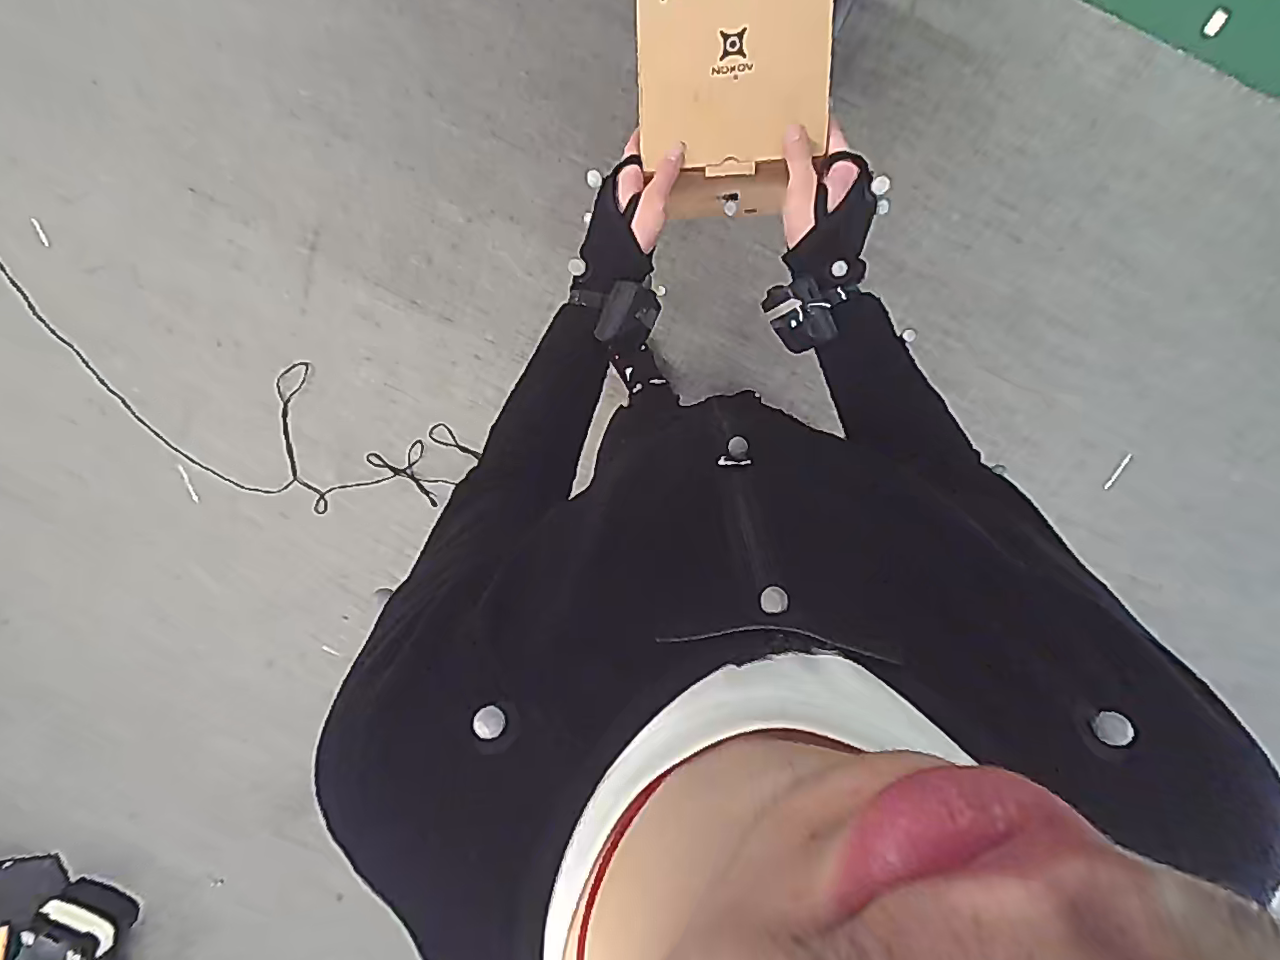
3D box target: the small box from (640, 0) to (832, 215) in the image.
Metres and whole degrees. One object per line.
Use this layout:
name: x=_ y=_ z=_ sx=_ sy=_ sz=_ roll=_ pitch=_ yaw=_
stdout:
small box: x=0.099 y=-0.383 z=0.548 sx=0.168 sy=0.176 sz=0.179 roll=-2 pitch=101 yaw=12
